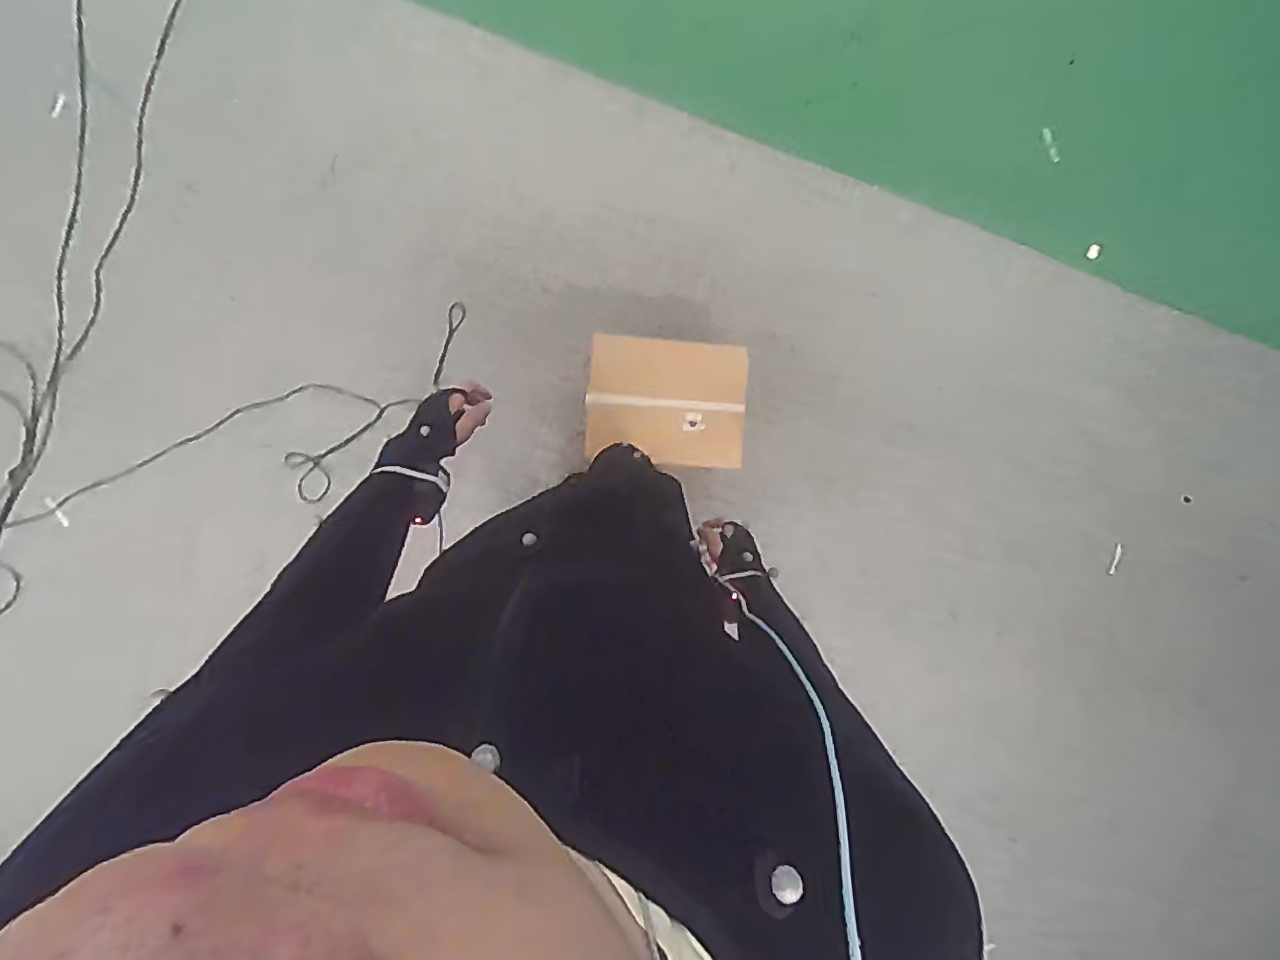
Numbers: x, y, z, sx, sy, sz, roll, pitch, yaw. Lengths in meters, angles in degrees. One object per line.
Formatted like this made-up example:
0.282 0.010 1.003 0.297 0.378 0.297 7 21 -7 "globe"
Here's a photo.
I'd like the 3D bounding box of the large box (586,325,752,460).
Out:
0.058 -0.226 1.501 0.408 0.320 0.320 5 95 -7 "large box"
